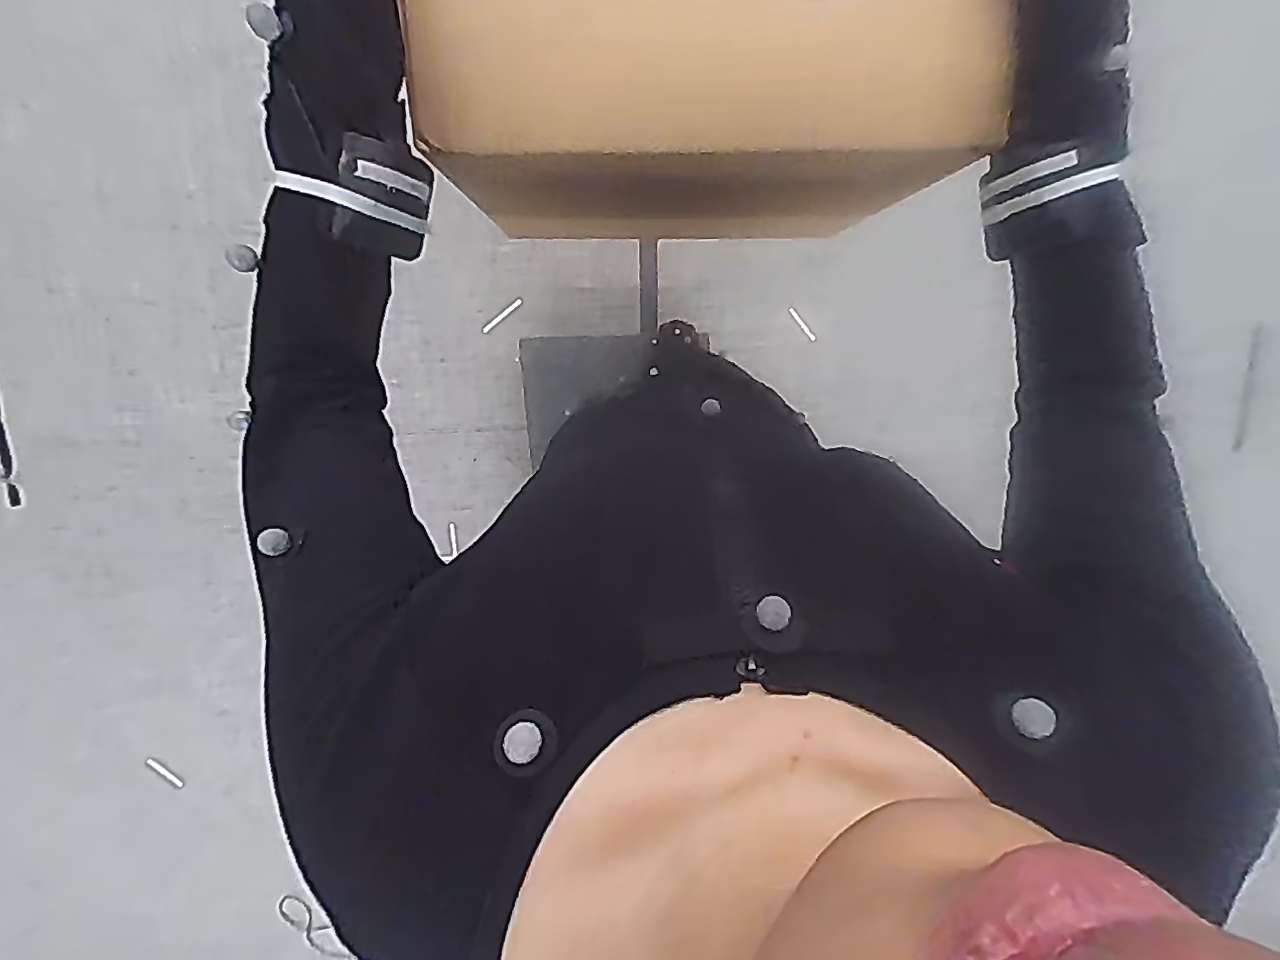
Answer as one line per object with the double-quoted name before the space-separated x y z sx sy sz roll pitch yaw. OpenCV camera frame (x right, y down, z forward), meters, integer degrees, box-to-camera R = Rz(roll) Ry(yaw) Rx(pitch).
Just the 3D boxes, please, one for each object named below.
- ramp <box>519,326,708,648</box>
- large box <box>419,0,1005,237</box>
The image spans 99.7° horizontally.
"ramp" -0.051 0.071 1.572 0.509 0.206 0.991 -4 103 -3
"large box" 0.041 -0.421 0.491 0.408 0.320 0.320 -2 104 -2
